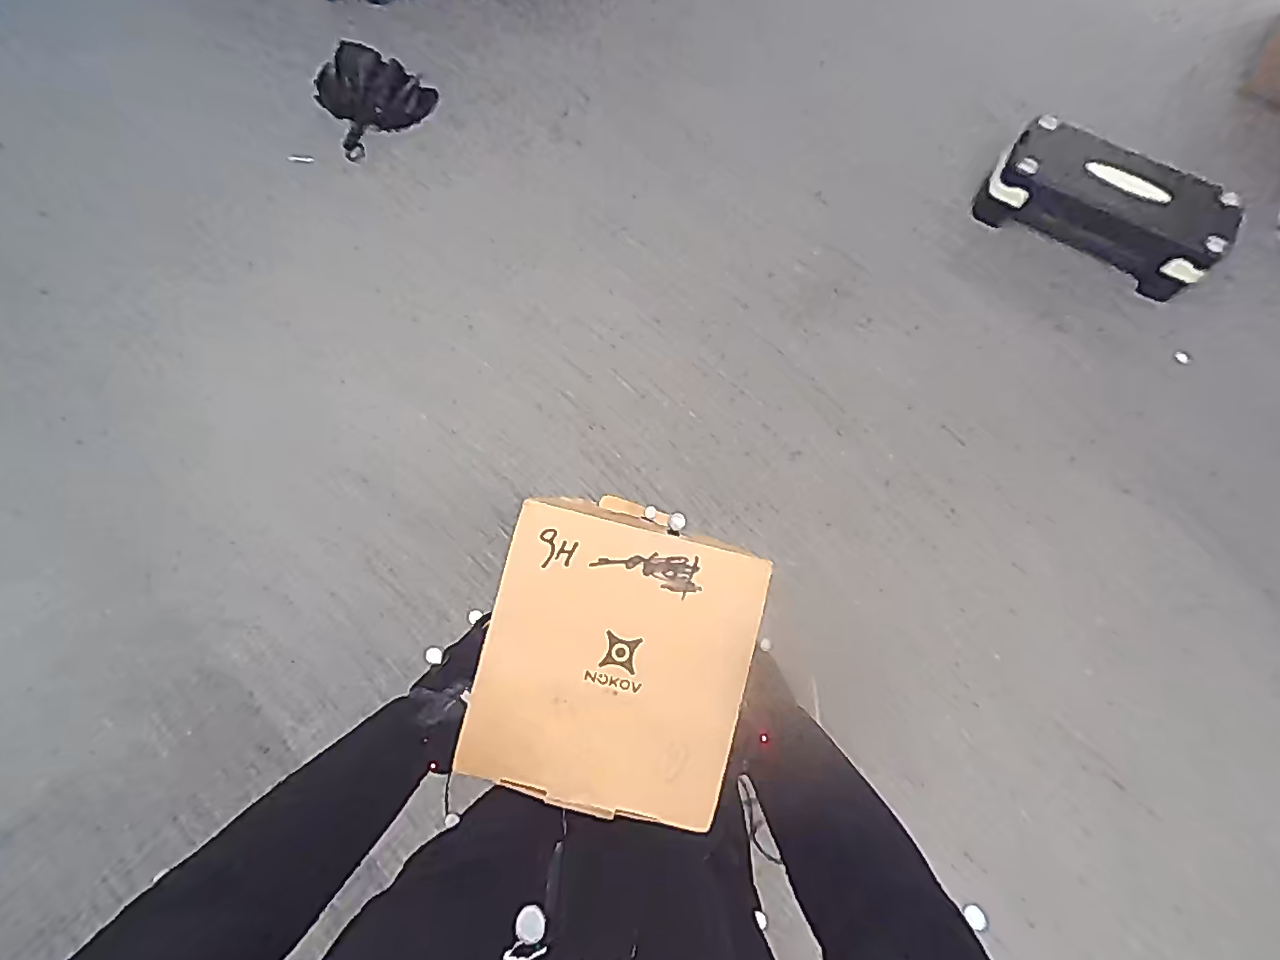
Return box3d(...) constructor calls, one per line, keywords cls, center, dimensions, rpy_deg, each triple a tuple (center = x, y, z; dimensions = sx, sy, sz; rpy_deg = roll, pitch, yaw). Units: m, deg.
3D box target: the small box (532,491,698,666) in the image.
box3d(cls="small box", center=(-0.033, 0.124, 0.735), dimensions=(0.168, 0.176, 0.179), rpy_deg=(17, 86, -1))
